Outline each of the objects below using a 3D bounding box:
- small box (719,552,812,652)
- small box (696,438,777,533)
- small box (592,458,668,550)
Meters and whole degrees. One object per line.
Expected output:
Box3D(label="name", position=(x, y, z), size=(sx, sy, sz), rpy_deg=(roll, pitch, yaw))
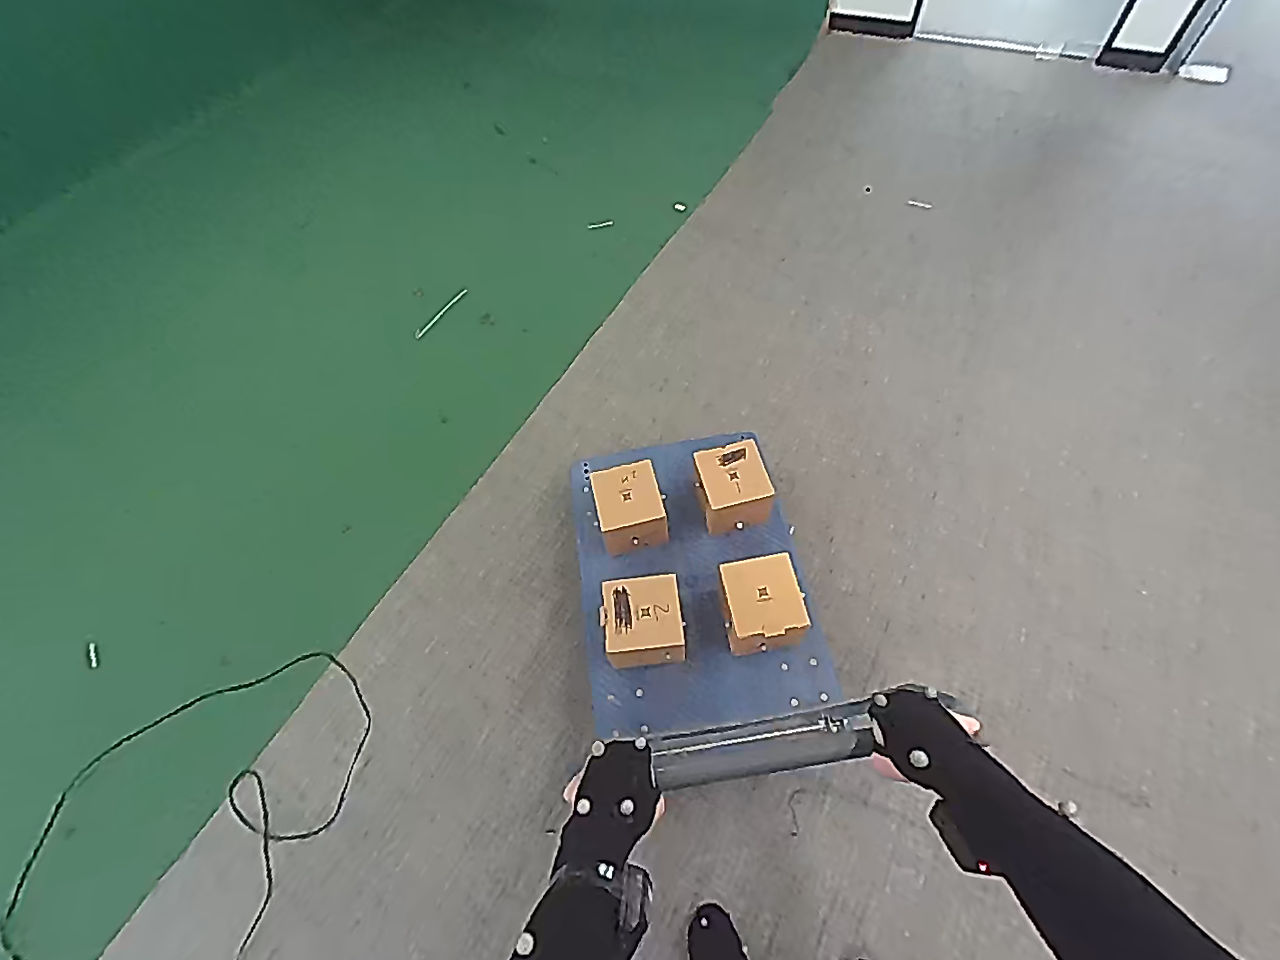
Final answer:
Box3D(label="small box", position=(0.287, 0.293, 1.282), size=(0.168, 0.176, 0.179), rpy_deg=(-10, 60, -1))
Box3D(label="small box", position=(0.248, 0.019, 1.440), size=(0.168, 0.176, 0.179), rpy_deg=(-13, 61, -2))
Box3D(label="small box", position=(-0.023, 0.072, 1.434), size=(0.168, 0.176, 0.179), rpy_deg=(-13, 60, -3))
